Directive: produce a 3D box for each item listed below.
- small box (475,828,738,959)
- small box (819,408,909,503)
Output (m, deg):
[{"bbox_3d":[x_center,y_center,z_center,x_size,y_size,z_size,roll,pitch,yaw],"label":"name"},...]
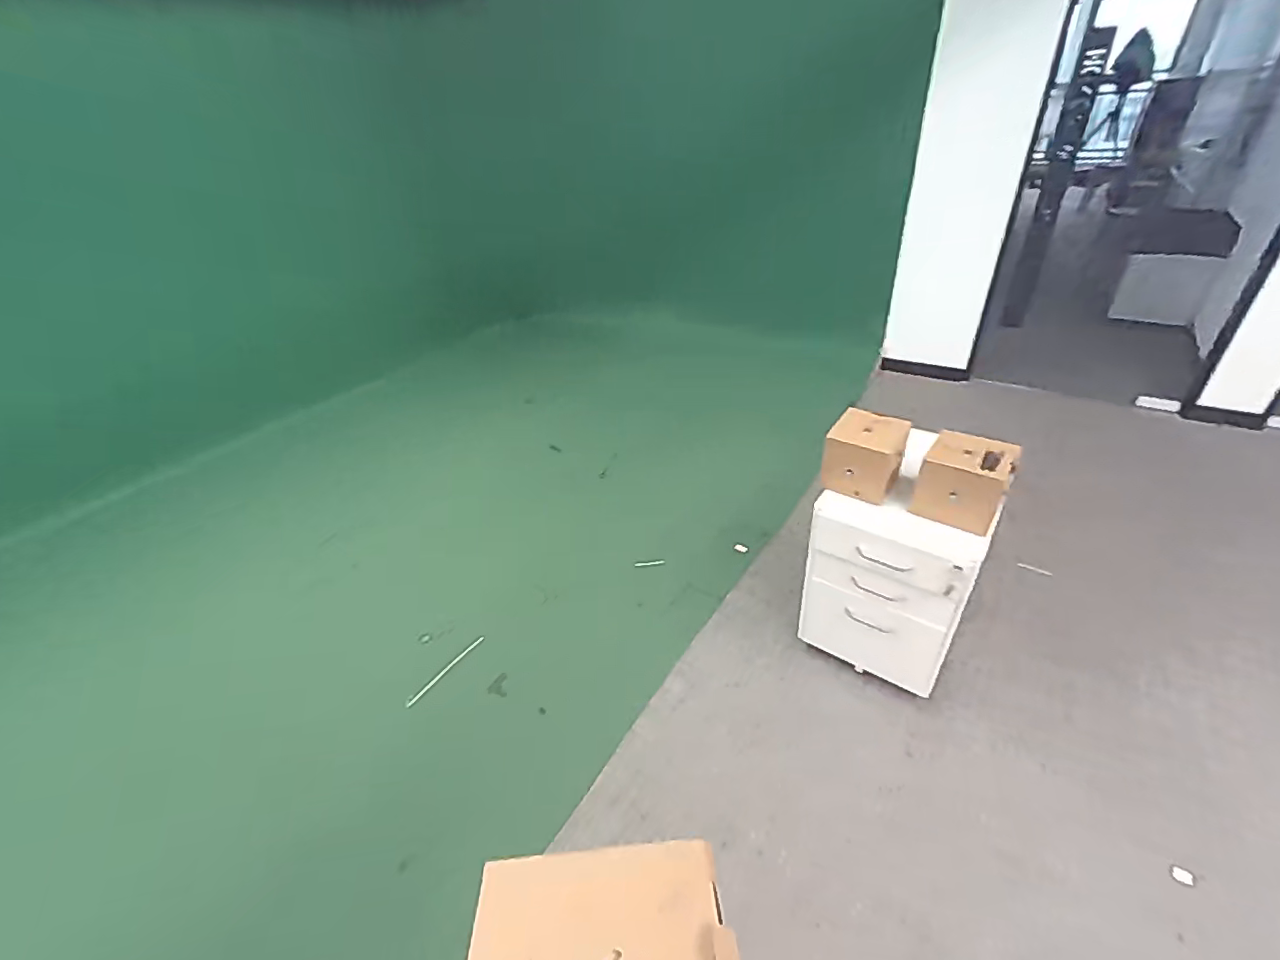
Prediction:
[{"bbox_3d":[-0.015,0.387,0.384,0.179,0.176,0.168,-7,27,0],"label":"small box"},{"bbox_3d":[0.592,-0.064,1.444,0.168,0.176,0.179,22,44,31],"label":"small box"}]
